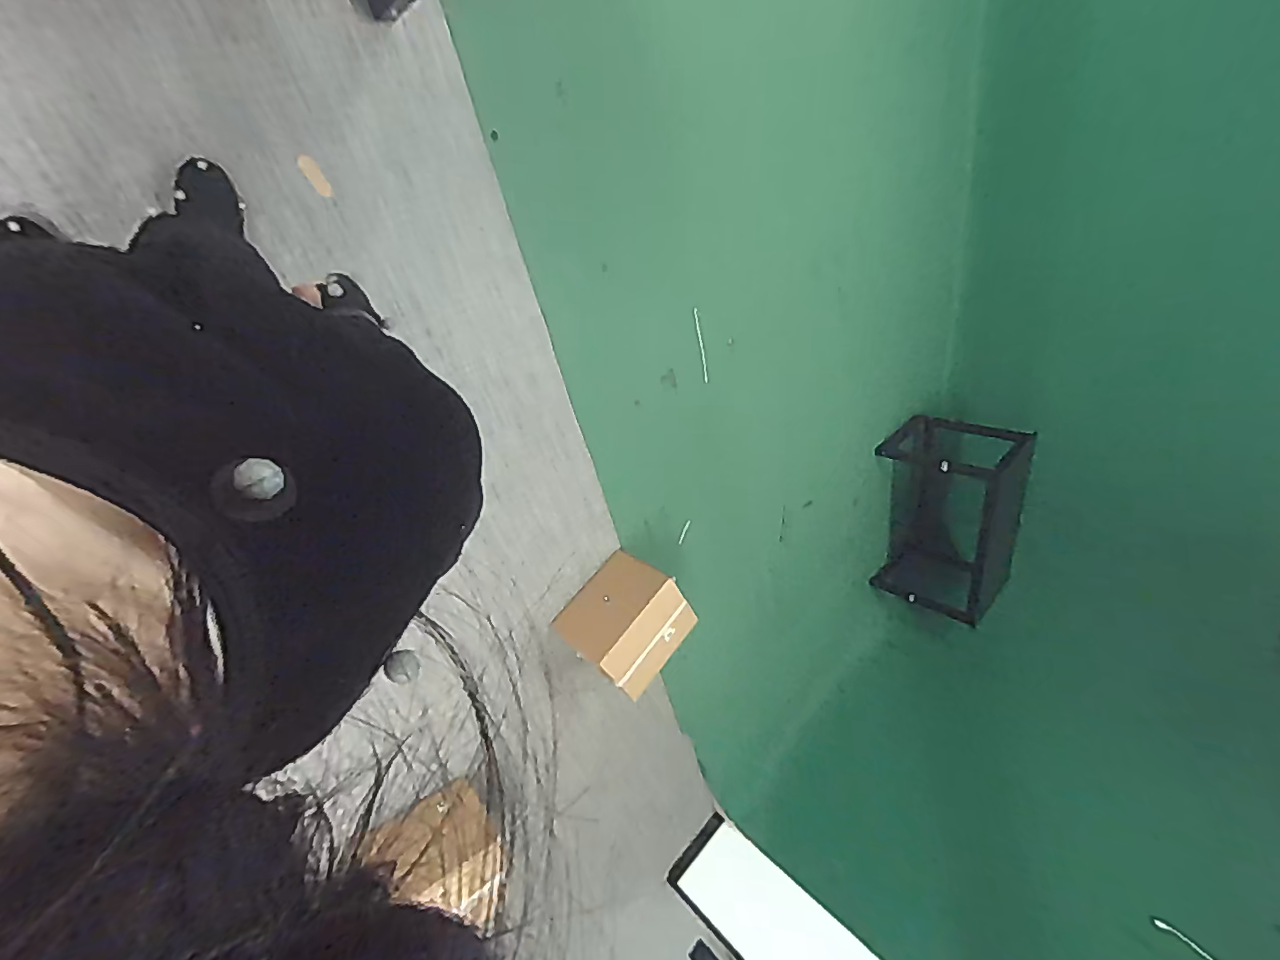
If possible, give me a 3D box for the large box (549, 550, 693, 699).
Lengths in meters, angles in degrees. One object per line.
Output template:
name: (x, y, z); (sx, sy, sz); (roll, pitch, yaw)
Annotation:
large box: (-0.069, 0.551, 2.107); (0.408, 0.320, 0.320); (-48, 133, -21)
